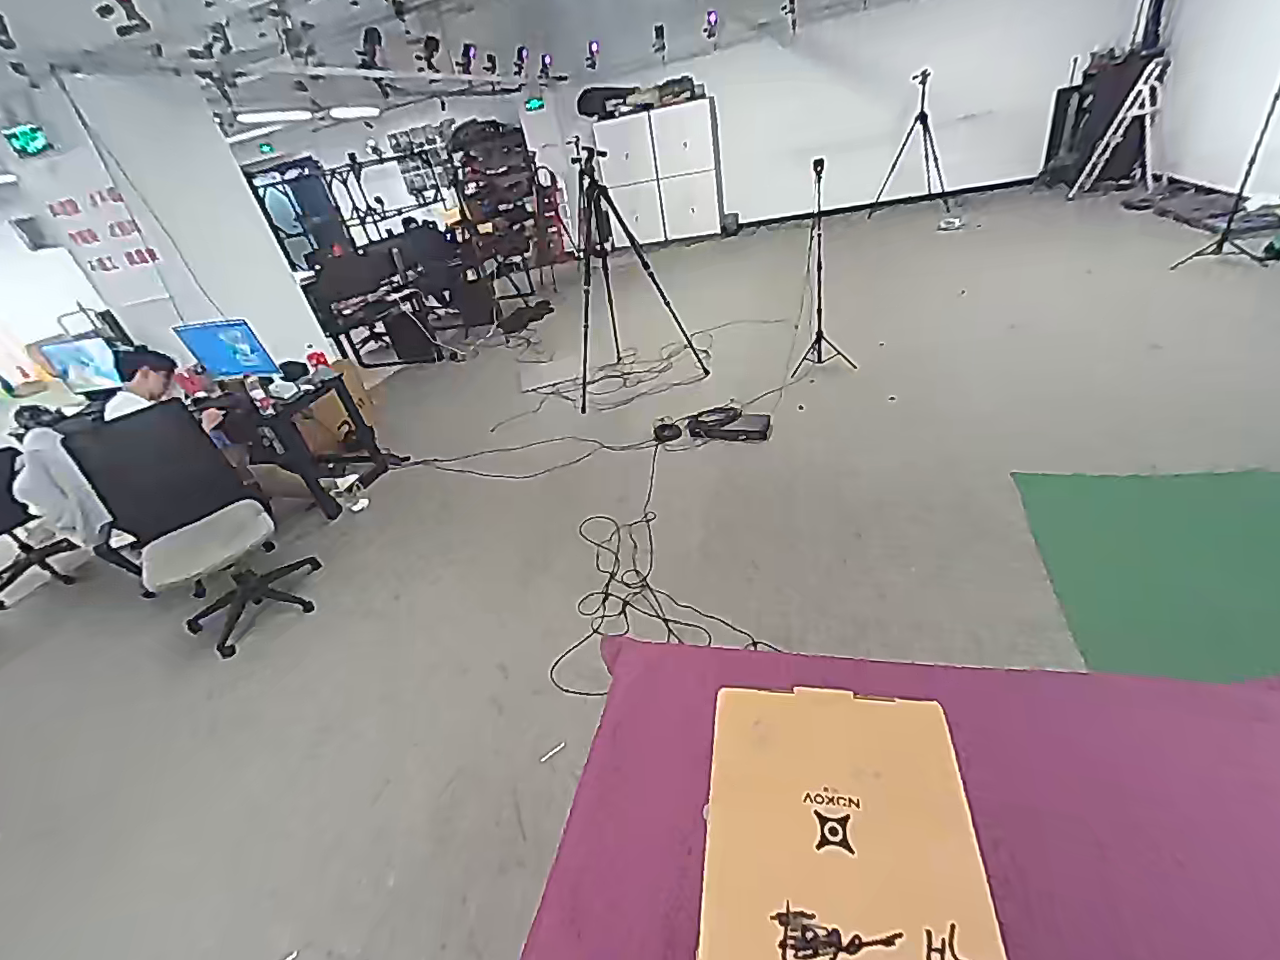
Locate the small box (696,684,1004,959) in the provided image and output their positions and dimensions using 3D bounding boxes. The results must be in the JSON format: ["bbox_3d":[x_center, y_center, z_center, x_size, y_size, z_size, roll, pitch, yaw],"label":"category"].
[{"bbox_3d":[0.142,0.280,0.401,0.168,0.176,0.179,-3,38,16],"label":"small box"}]
